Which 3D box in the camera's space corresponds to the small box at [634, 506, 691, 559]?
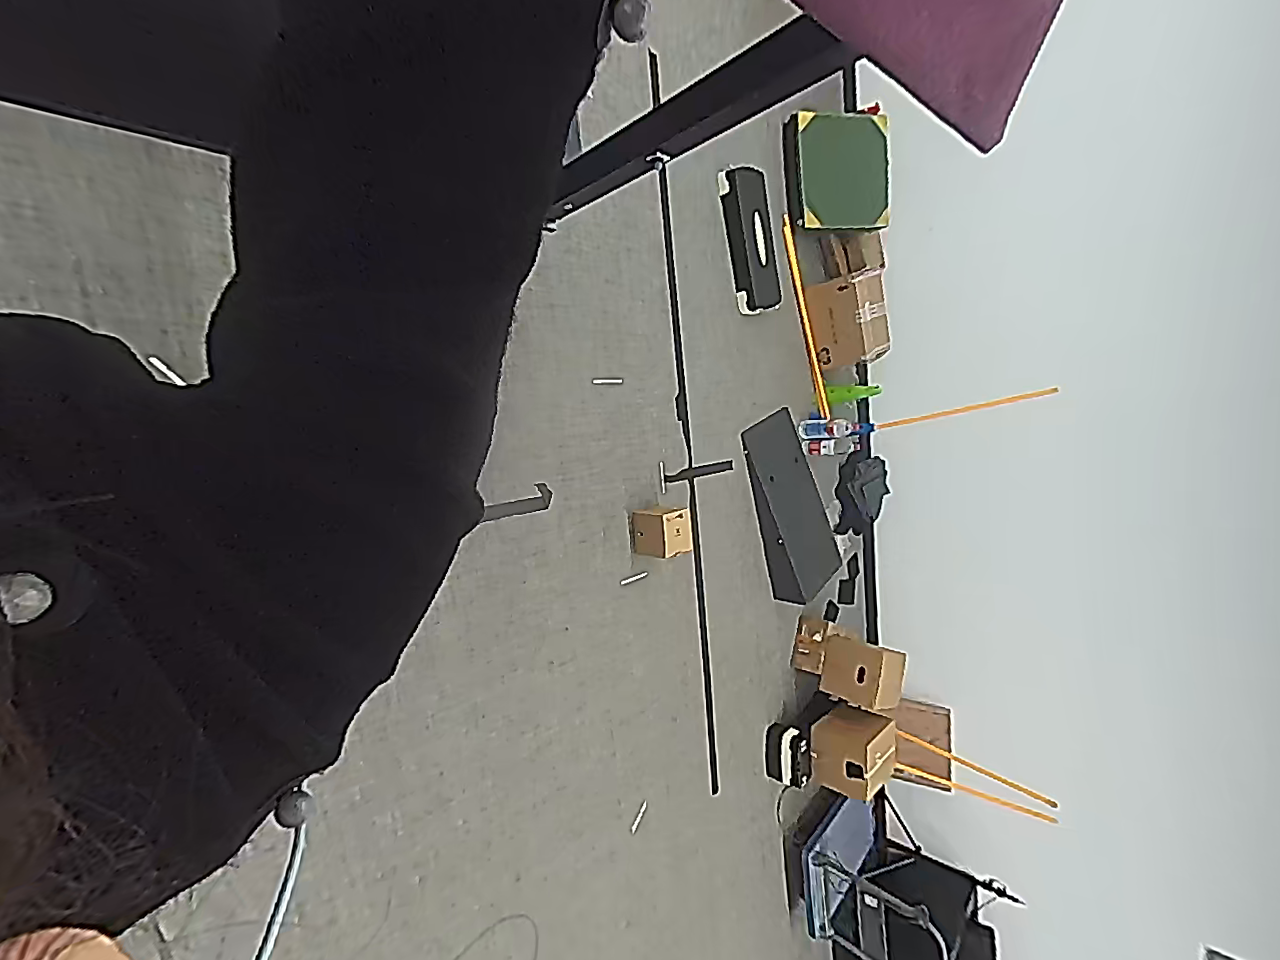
[{"bbox_3d":[0.089,0.208,2.191,0.168,0.176,0.179,-10,100,-45],"label":"small box"}]
